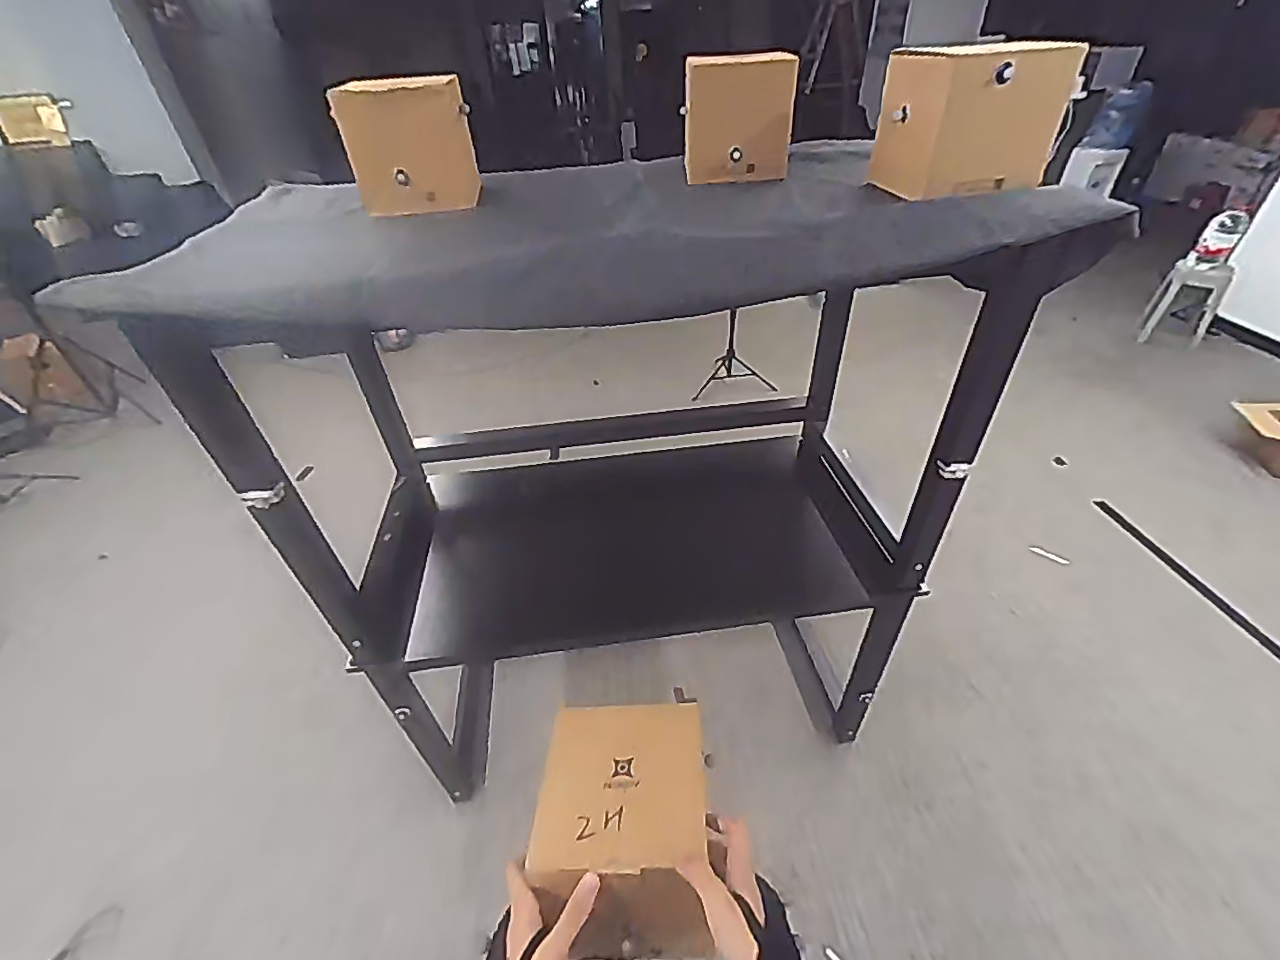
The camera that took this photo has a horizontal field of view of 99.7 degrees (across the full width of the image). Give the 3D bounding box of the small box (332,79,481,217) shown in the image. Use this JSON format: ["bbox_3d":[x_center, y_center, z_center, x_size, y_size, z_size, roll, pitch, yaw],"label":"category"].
[{"bbox_3d":[-0.361,-0.538,0.876,0.168,0.176,0.179,-8,41,-5],"label":"small box"}]

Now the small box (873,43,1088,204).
[{"bbox_3d":[0.451,-0.495,0.755,0.168,0.176,0.179,-7,38,-2],"label":"small box"}]
